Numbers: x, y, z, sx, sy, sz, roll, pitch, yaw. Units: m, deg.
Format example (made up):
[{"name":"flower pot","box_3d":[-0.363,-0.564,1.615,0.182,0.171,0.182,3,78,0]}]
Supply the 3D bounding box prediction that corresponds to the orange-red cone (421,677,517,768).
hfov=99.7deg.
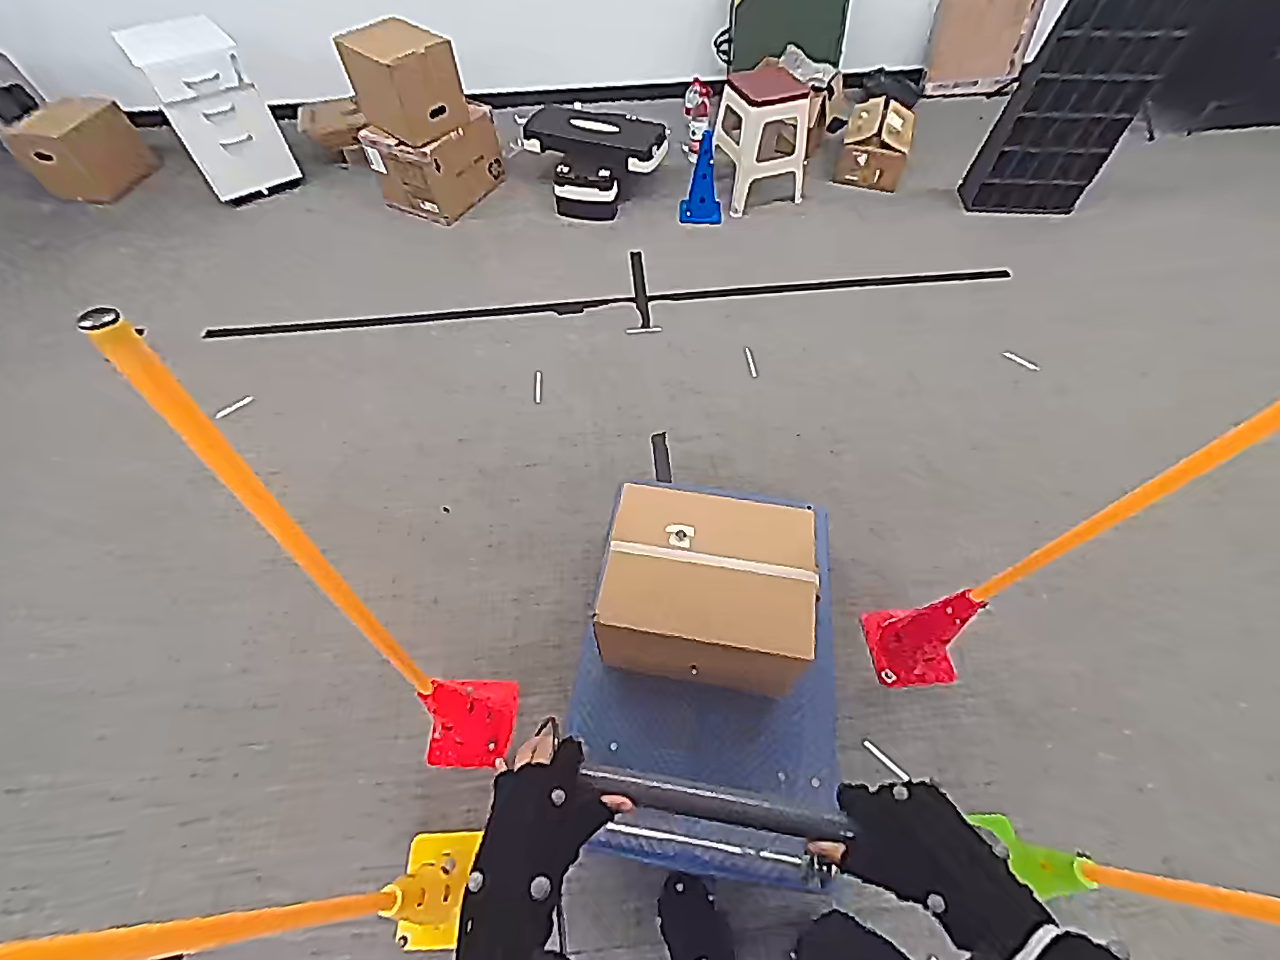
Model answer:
[{"name":"orange-red cone","box_3d":[-0.412,0.500,1.198,0.198,0.360,0.199,2,54,1]}]

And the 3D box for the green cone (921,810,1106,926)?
[{"name":"green cone","box_3d":[0.730,0.735,1.024,0.202,0.368,0.200,-1,56,-2]}]

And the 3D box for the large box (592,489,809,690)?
[{"name":"large box","box_3d":[0.134,0.248,1.187,0.408,0.320,0.320,8,57,6]}]

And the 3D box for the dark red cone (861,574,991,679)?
[{"name":"dark red cone","box_3d":[0.705,0.325,1.283,0.201,0.394,0.202,-4,56,-4]}]
